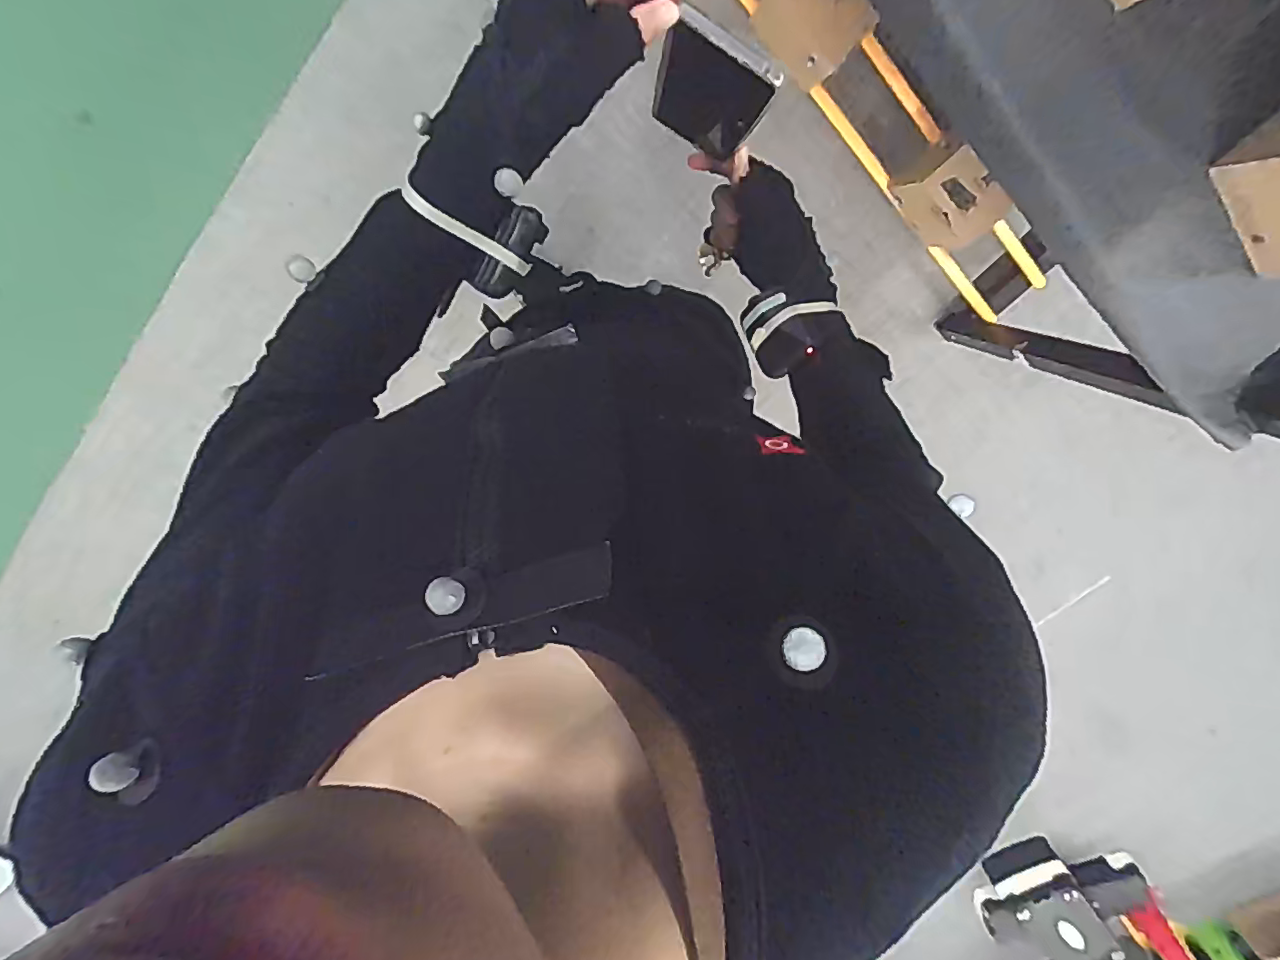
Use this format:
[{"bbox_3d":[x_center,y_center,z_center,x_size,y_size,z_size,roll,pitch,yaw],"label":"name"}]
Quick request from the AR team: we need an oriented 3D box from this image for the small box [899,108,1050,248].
[{"bbox_3d":[0.654,-0.594,1.088,0.179,0.176,0.168,-41,109,16],"label":"small box"}]
